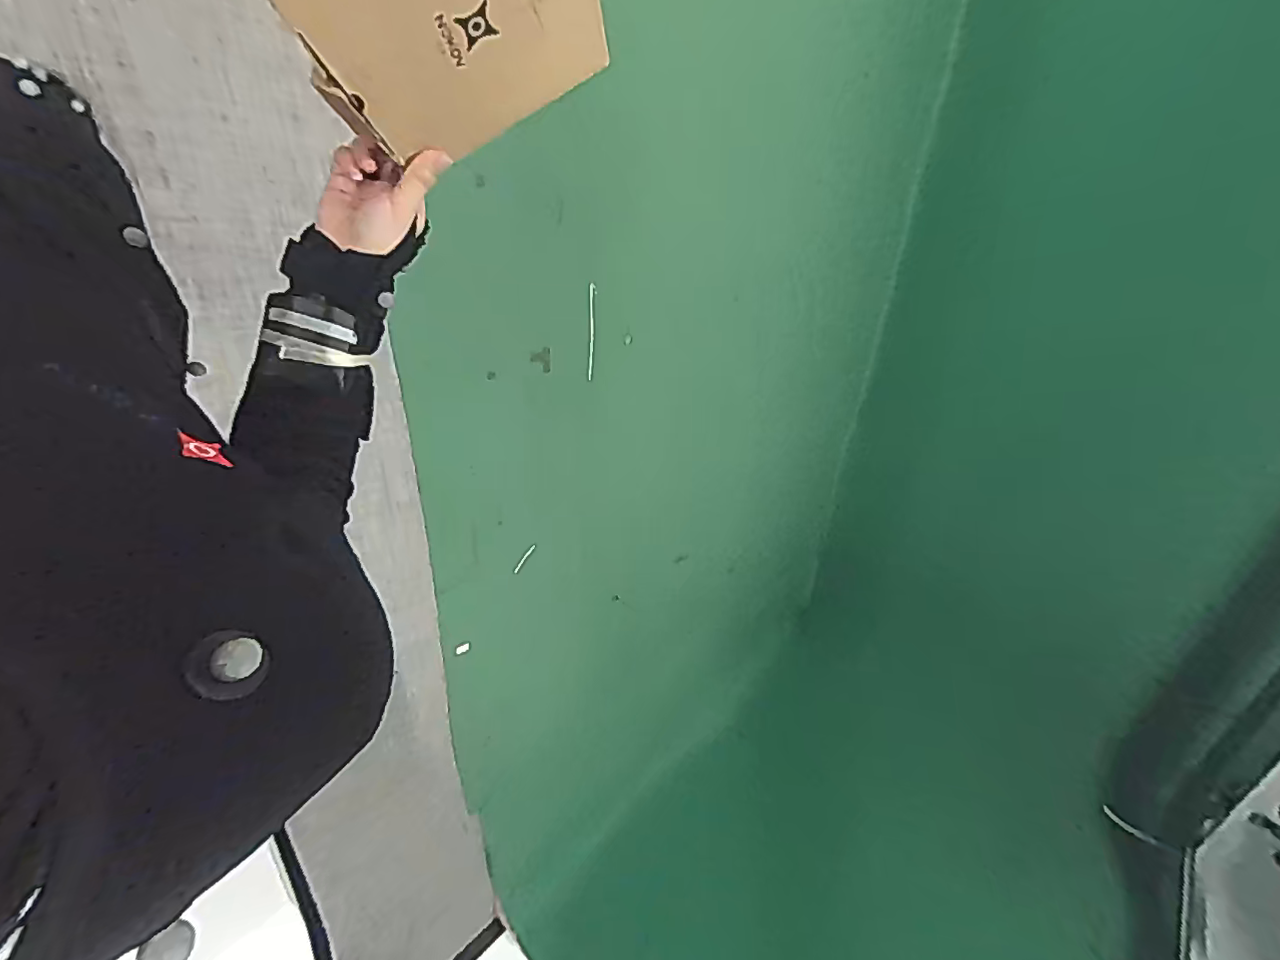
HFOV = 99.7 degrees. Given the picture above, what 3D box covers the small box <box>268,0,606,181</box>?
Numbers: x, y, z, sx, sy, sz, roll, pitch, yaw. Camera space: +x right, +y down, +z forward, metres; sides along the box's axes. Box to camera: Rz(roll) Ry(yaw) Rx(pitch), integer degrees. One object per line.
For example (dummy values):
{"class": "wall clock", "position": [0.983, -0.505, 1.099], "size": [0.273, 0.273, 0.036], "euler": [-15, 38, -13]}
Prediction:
{"class": "small box", "position": [-0.145, -0.343, 0.334], "size": [0.179, 0.176, 0.168], "euler": [-33, 175, 1]}
